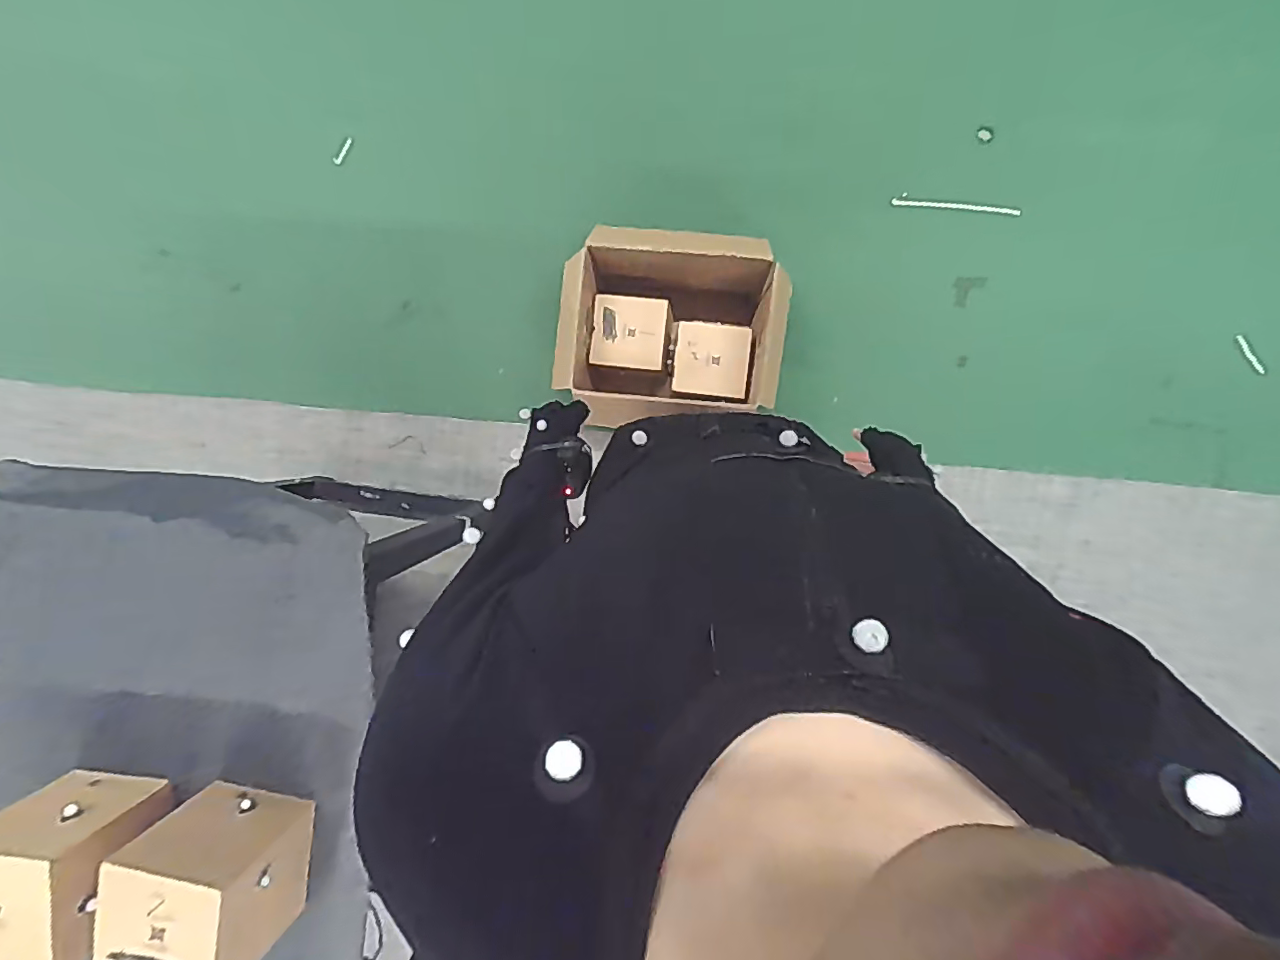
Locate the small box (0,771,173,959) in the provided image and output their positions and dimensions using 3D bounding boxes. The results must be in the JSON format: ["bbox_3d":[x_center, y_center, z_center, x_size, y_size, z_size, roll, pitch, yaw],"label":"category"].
[{"bbox_3d":[-0.811,0.545,0.766,0.168,0.176,0.179,4,96,3],"label":"small box"}]
